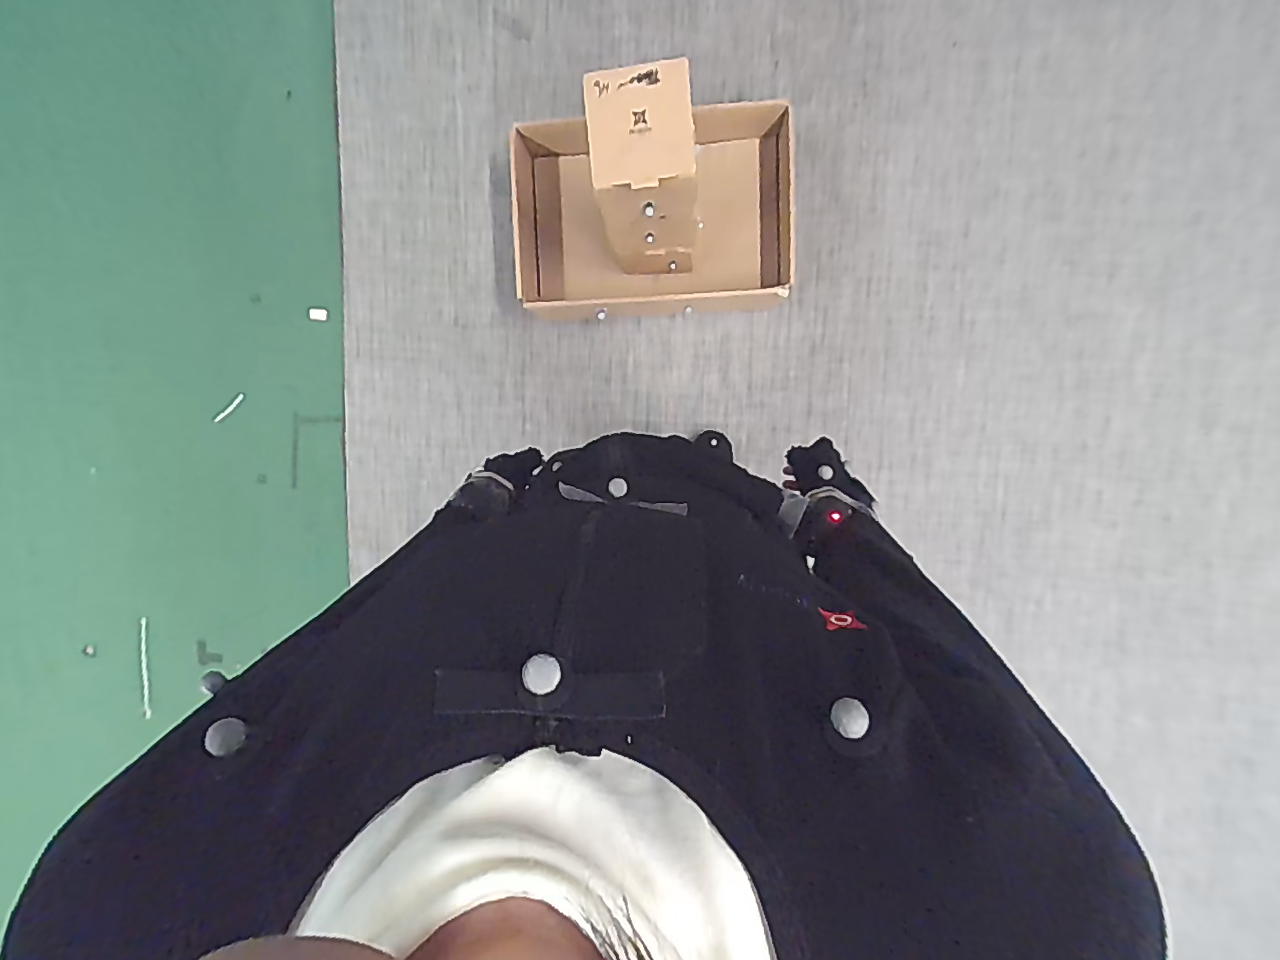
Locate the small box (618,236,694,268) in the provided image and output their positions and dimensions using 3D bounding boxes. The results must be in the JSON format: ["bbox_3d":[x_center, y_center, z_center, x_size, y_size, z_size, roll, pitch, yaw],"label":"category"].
[{"bbox_3d":[0.041,-0.596,1.243,0.168,0.176,0.179,0,94,5],"label":"small box"}]

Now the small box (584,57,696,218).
[{"bbox_3d":[0.007,-0.563,0.919,0.168,0.176,0.179,-4,96,6],"label":"small box"}]

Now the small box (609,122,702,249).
[{"bbox_3d":[0.027,-0.578,1.081,0.179,0.176,0.168,-5,96,5],"label":"small box"}]
